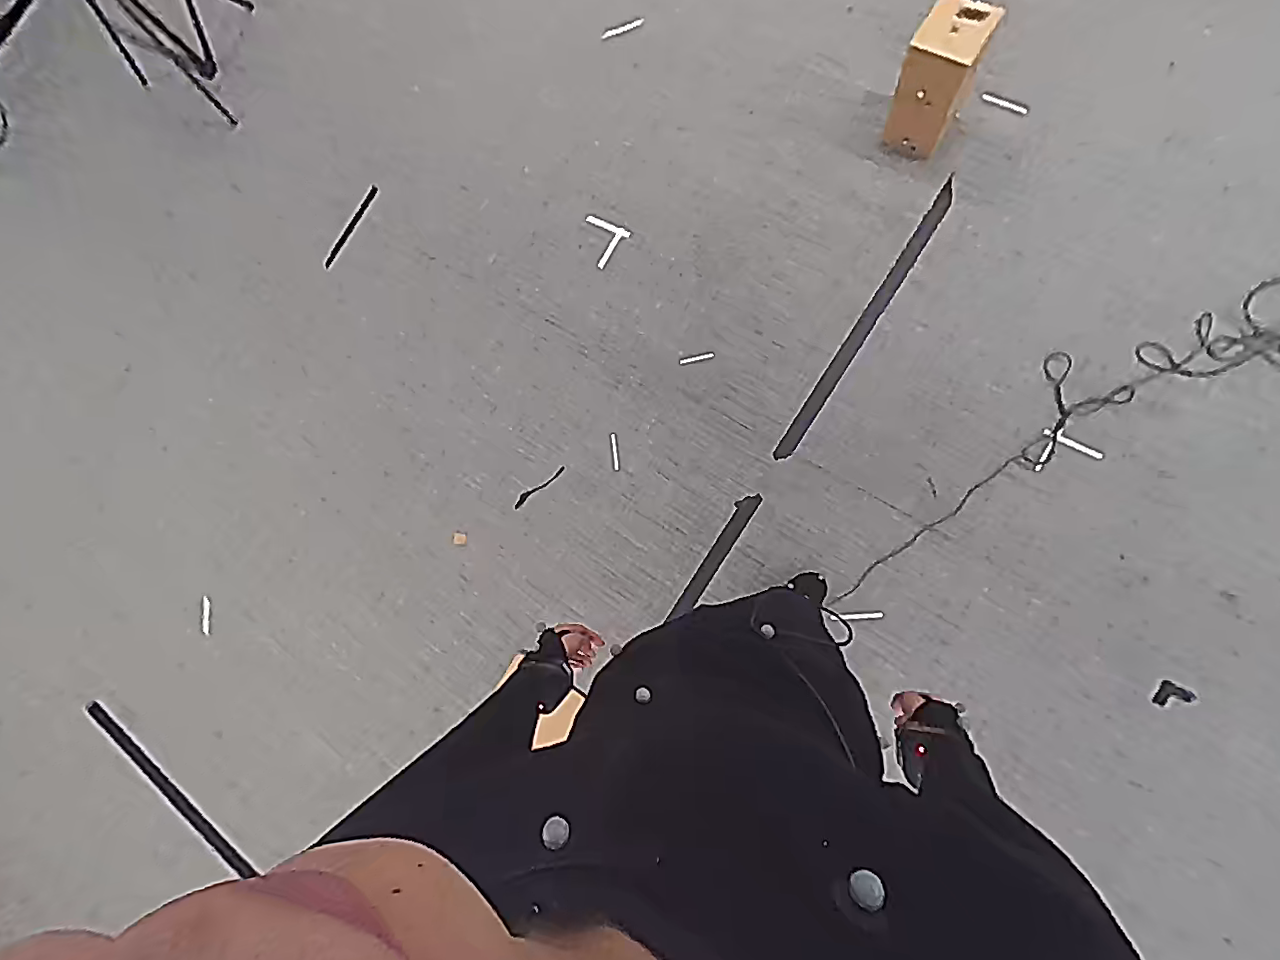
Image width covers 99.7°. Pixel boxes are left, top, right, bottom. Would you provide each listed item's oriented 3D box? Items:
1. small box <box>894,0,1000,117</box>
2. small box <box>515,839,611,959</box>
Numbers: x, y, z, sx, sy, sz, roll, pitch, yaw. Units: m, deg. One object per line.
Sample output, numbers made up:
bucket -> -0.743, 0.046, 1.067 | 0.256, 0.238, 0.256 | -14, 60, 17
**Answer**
small box -> 0.821, -1.146, 1.469 | 0.168, 0.176, 0.179 | 33, 89, 15
small box -> -0.196, 1.121, 1.446 | 0.168, 0.176, 0.179 | 30, 87, 13
